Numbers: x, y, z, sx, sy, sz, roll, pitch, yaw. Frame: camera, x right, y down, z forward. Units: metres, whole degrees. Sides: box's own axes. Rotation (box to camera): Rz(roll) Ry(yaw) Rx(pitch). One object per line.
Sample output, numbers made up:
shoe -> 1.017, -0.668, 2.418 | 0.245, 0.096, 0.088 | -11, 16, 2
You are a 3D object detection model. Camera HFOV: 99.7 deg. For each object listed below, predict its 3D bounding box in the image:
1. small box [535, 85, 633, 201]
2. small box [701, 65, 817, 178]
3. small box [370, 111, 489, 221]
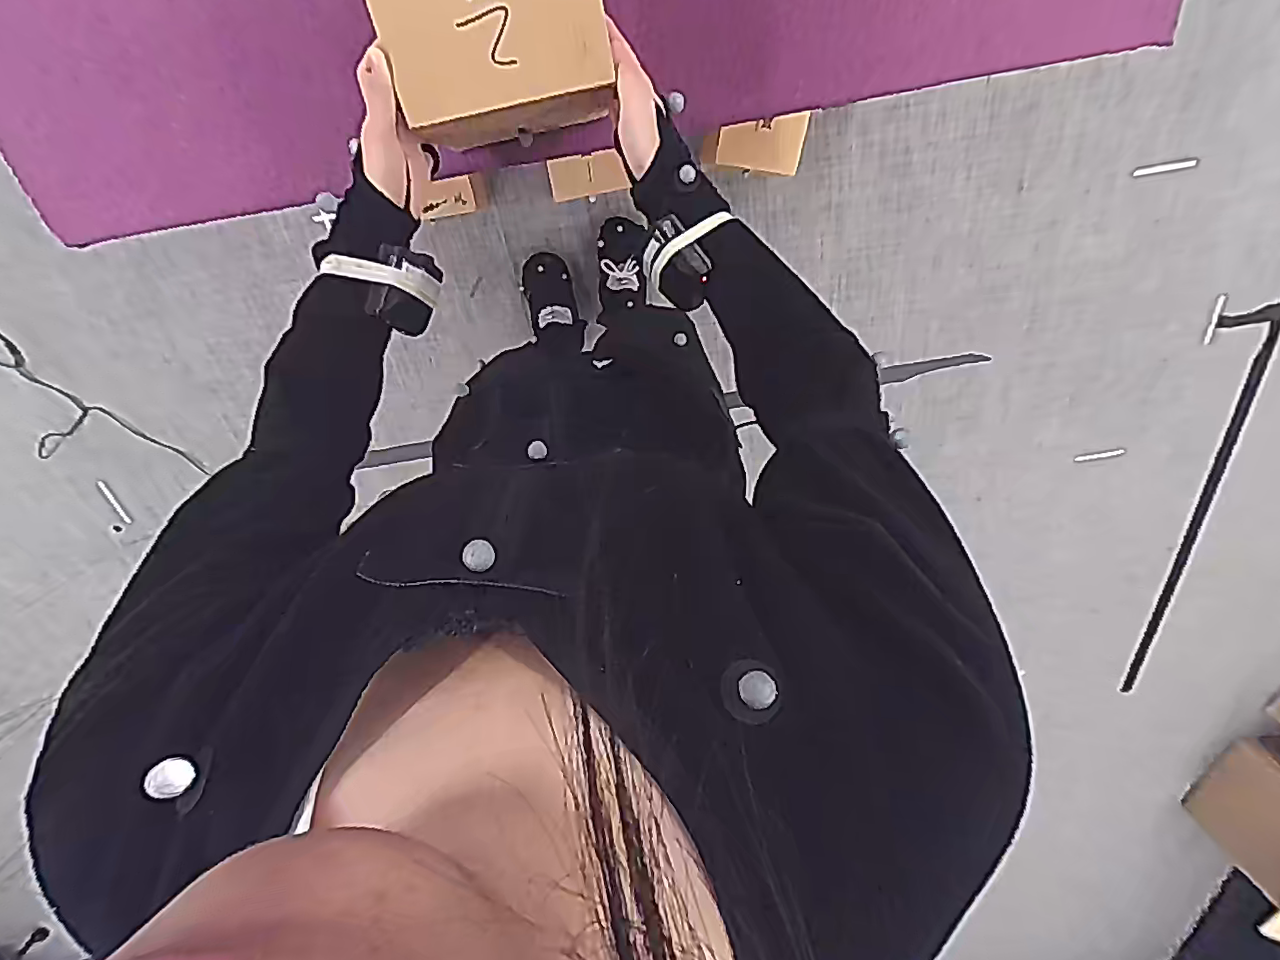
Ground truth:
small box -> -0.114, -0.693, 1.127 | 0.168, 0.176, 0.179 | -10, 120, 1
small box -> 0.239, -0.741, 1.133 | 0.179, 0.176, 0.168 | 5, 118, -7
small box -> -0.427, -0.645, 1.127 | 0.168, 0.176, 0.179 | -8, 118, -1
